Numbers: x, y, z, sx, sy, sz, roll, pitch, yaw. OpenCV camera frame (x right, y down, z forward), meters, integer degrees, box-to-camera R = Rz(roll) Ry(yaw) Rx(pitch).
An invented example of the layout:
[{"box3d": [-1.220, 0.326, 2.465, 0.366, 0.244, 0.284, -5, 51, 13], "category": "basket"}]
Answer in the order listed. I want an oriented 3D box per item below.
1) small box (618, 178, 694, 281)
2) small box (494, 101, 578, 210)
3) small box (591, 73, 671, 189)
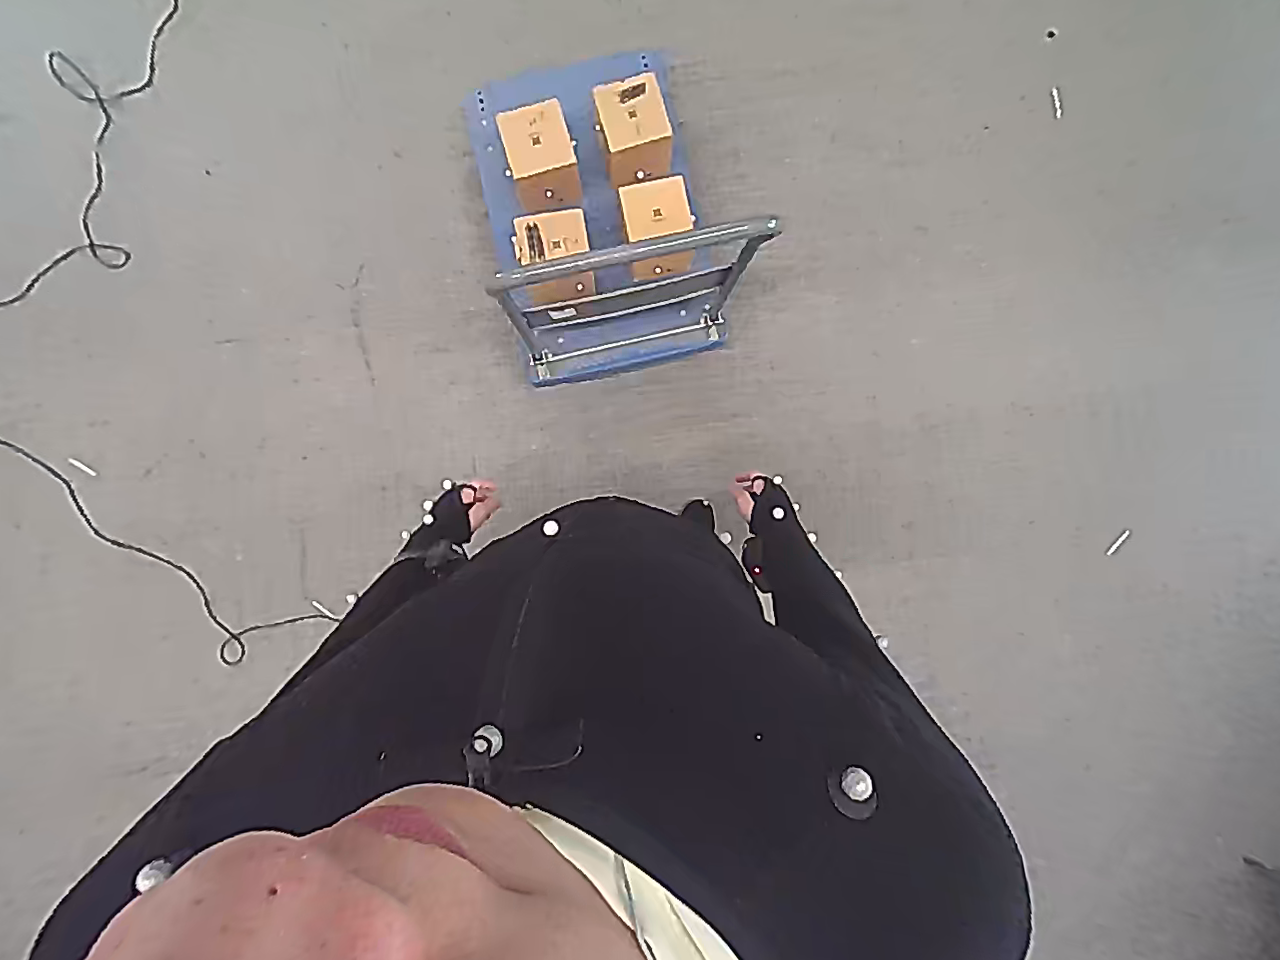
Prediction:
[{"box3d": [0.037, -0.656, 1.428, 0.168, 0.176, 0.179, -12, 88, -2], "category": "small box"}, {"box3d": [-0.267, -0.844, 1.428, 0.168, 0.176, 0.179, -16, 88, -3], "category": "small box"}, {"box3d": [-0.025, -0.919, 1.436, 0.168, 0.176, 0.179, -17, 89, -1], "category": "small box"}]
